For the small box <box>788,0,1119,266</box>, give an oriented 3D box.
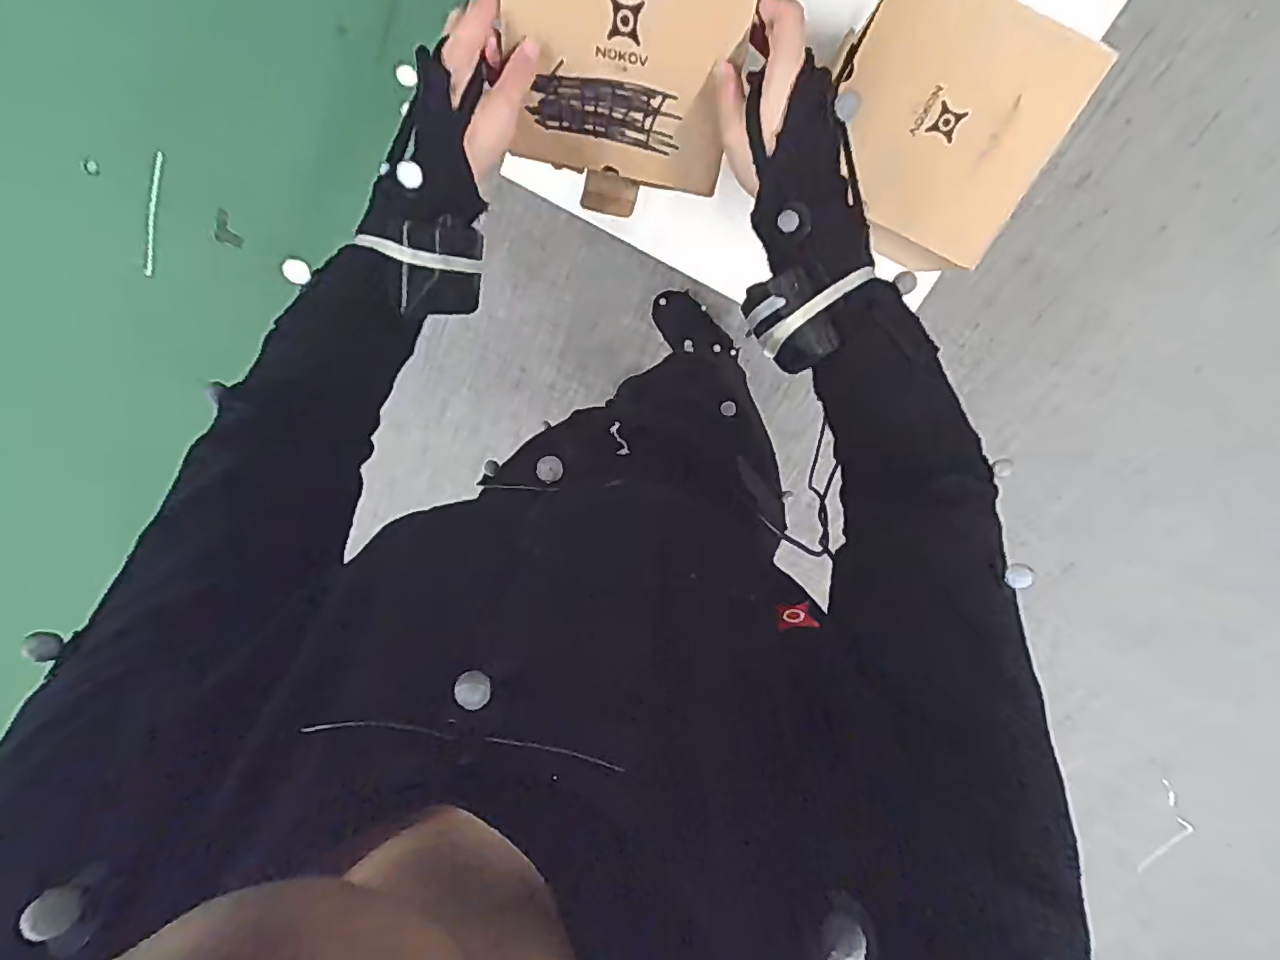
[{"bbox_3d":[0.253,-0.309,0.496,0.179,0.176,0.168,27,114,0],"label":"small box"}]
